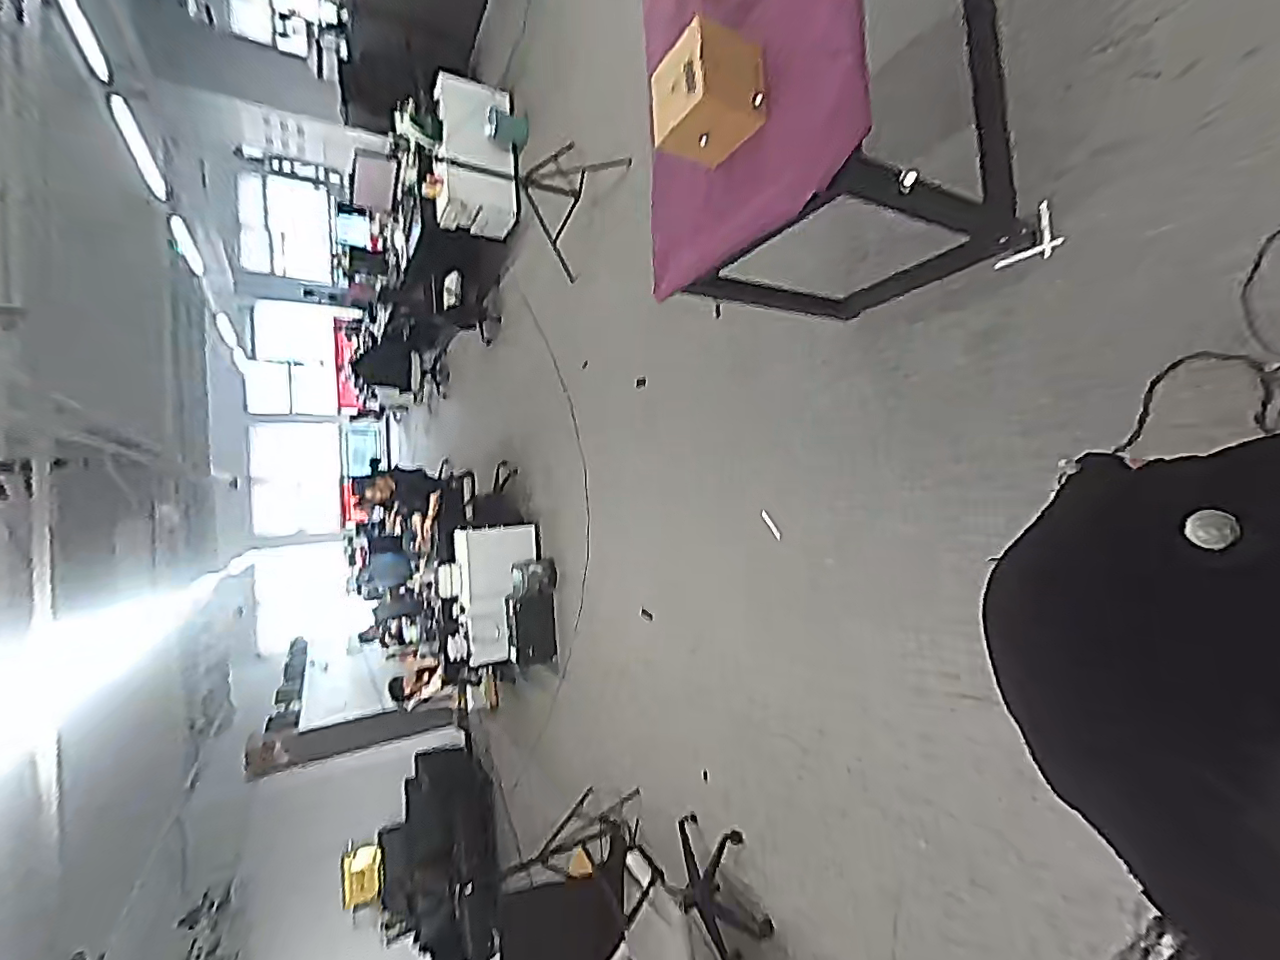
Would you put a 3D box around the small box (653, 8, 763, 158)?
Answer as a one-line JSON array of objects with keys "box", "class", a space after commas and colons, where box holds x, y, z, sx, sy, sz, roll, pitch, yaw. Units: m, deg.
[{"box": [0.147, -0.826, 1.146, 0.179, 0.176, 0.168, -6, 87, 59], "class": "small box"}]
